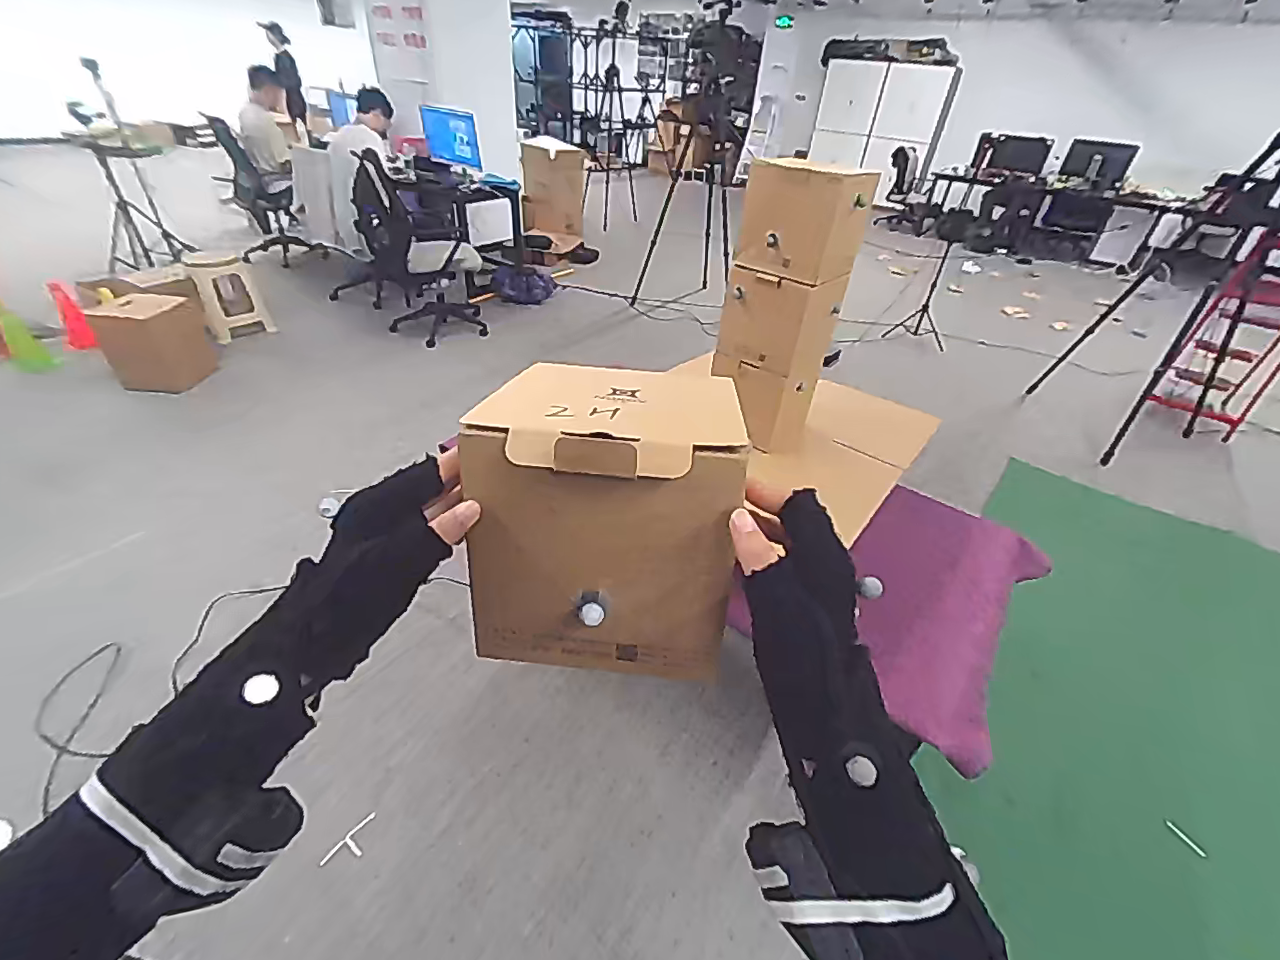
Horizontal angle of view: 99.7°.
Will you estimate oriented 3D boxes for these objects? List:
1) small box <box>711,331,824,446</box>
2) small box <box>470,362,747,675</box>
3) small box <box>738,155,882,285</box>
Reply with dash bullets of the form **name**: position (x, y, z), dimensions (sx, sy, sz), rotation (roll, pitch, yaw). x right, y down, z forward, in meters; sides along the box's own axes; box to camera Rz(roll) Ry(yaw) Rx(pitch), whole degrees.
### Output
- **small box**: position (0.257, -0.193, 1.136), dimensions (0.168, 0.176, 0.179), rotation (29, 41, 29)
- **small box**: position (-0.015, 0.017, 0.415), dimensions (0.168, 0.176, 0.179), rotation (5, 25, 4)
- **small box**: position (0.289, -0.458, 0.945), dimensions (0.168, 0.176, 0.179), rotation (28, 41, 27)
